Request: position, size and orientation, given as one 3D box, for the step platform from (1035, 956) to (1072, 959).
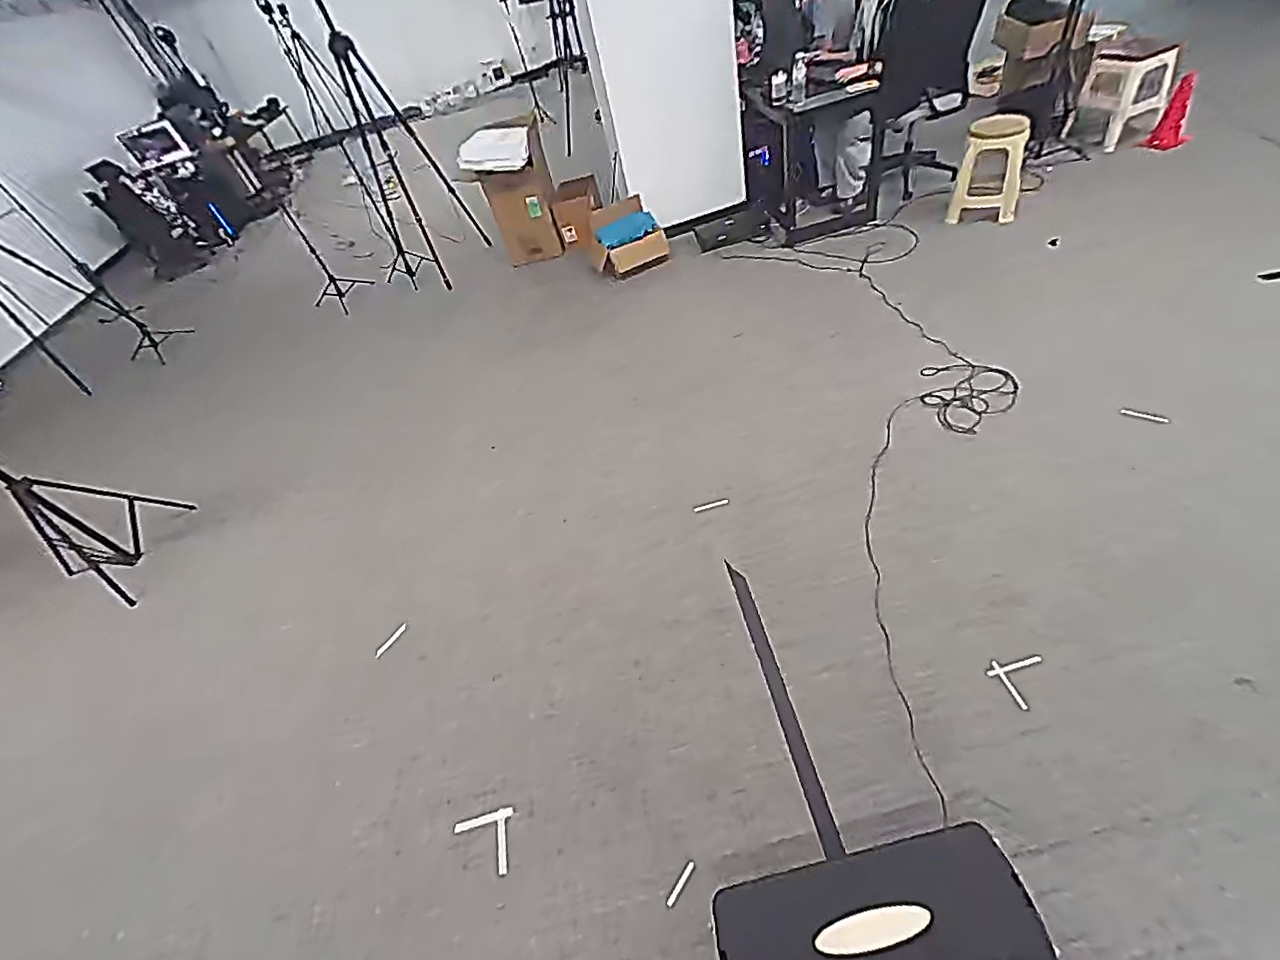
[{"bbox_3d":[0.554,1.117,0.964,0.684,0.204,0.286,-18,45,2],"label":"step platform"}]
